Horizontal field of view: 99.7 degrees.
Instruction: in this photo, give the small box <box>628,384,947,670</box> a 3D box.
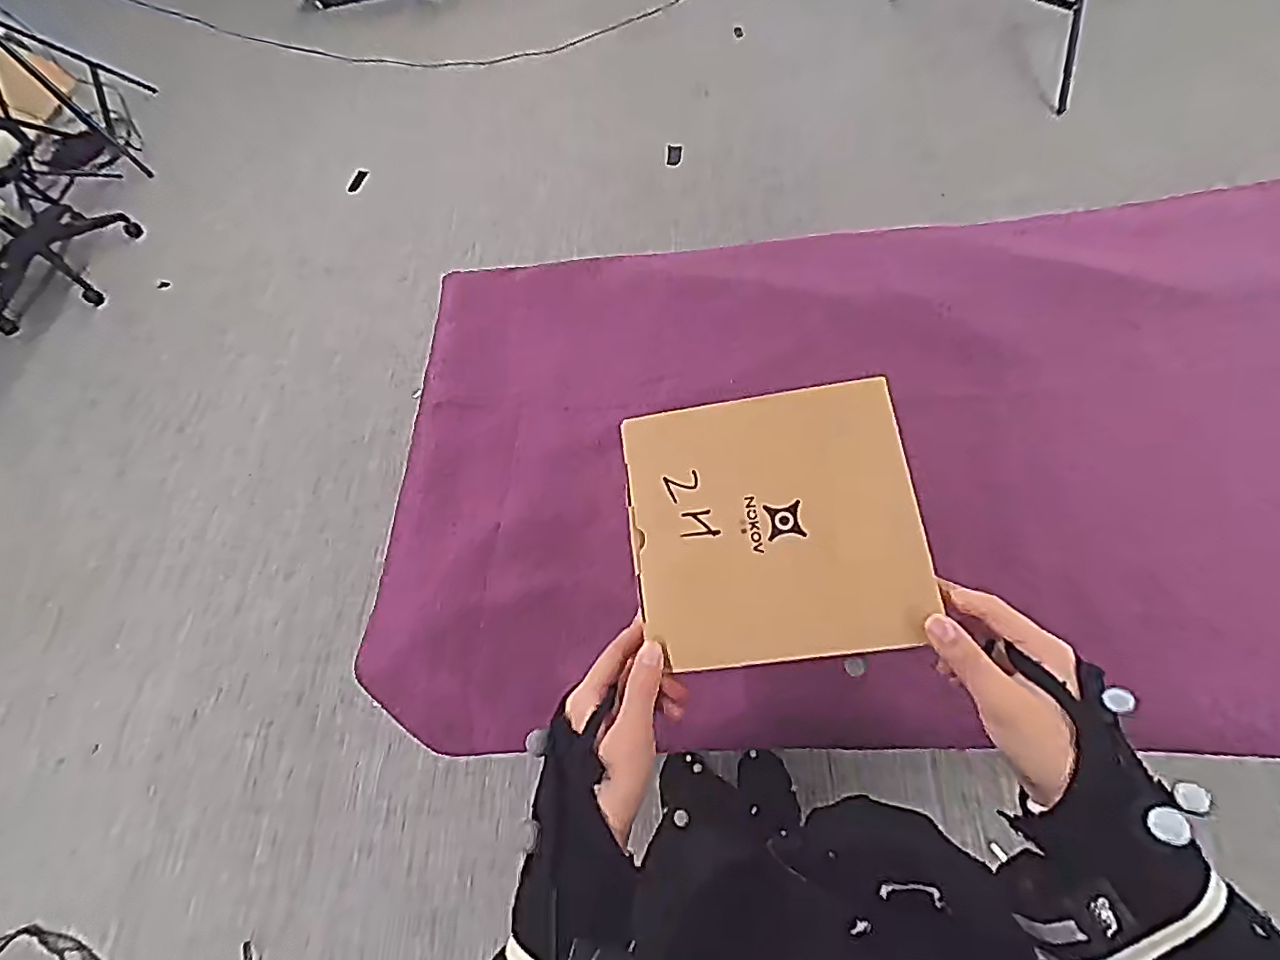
[{"bbox_3d":[0.096,0.046,0.415,0.179,0.176,0.168,-8,74,8],"label":"small box"}]
